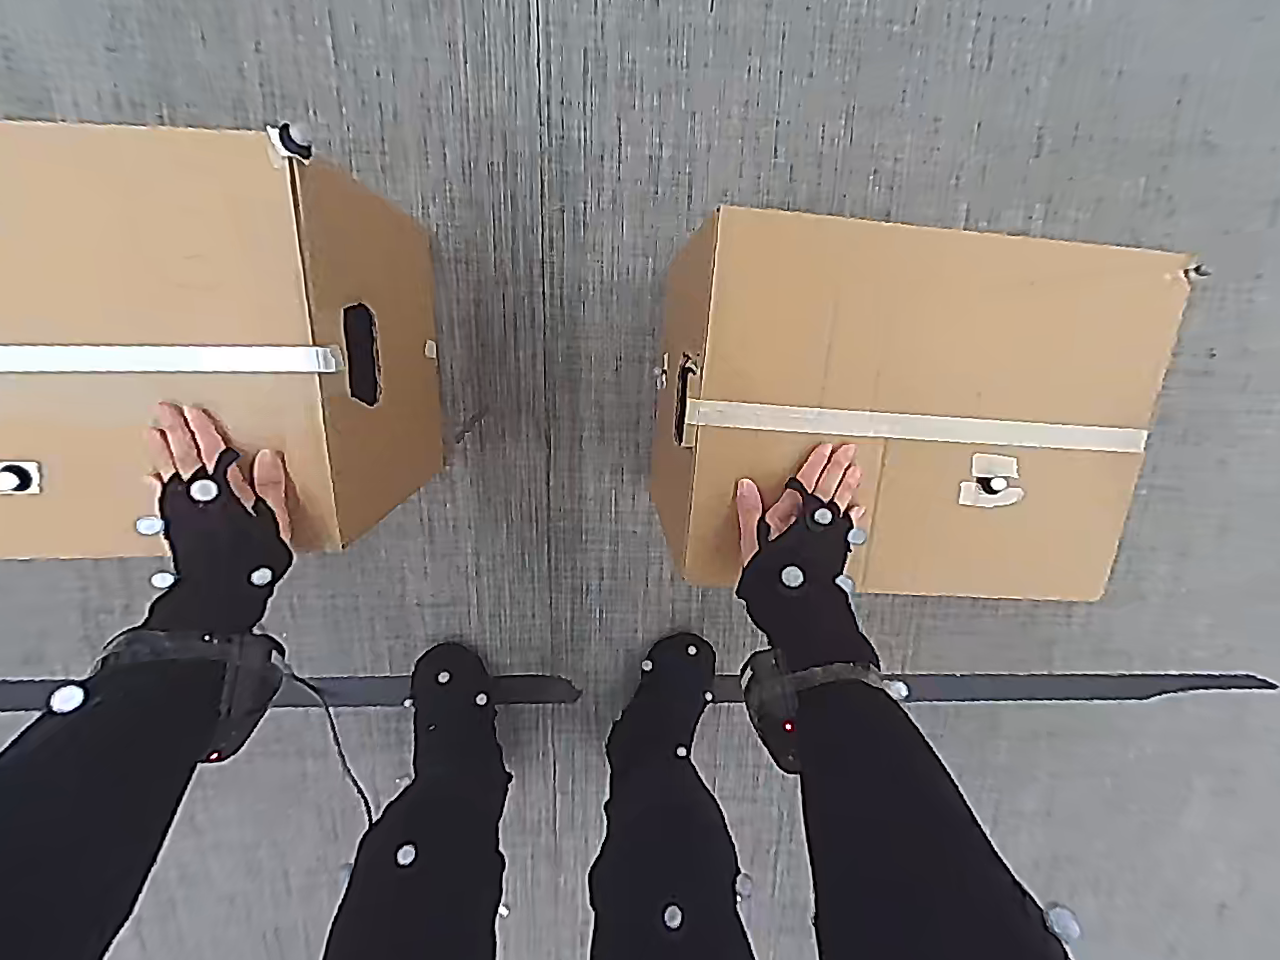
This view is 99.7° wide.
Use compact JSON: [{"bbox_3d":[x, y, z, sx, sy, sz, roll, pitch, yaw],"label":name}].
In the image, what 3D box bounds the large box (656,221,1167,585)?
[{"bbox_3d":[0.239,-0.084,0.626,0.408,0.320,0.320,3,104,-6],"label":"large box"}]
